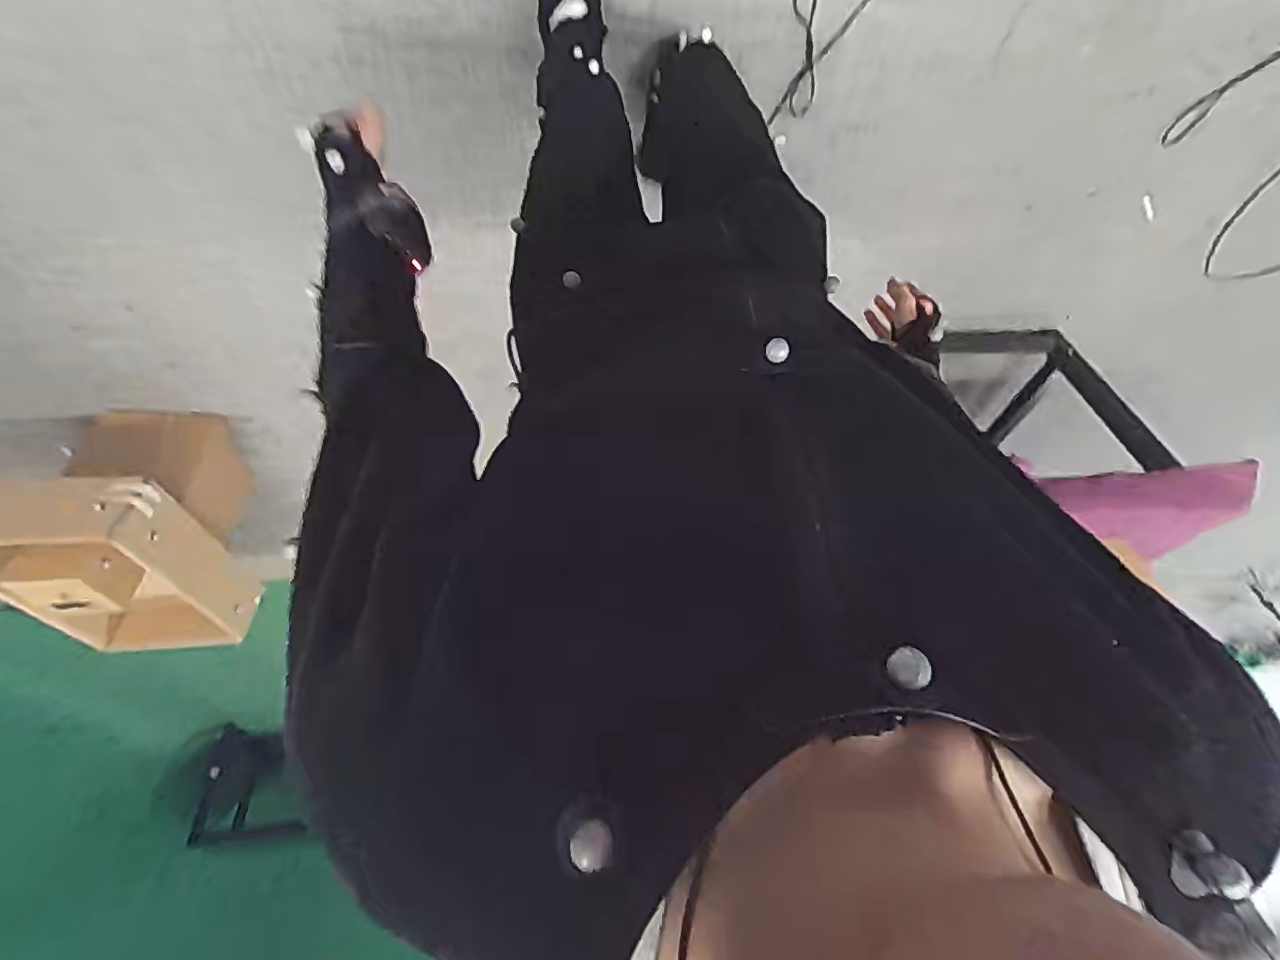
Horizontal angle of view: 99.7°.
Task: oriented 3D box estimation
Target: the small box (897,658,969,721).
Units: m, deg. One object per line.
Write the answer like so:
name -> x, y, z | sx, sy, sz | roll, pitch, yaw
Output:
small box -> 1.046, 0.747, 1.947 | 0.168, 0.176, 0.179 | -15, 142, 9
